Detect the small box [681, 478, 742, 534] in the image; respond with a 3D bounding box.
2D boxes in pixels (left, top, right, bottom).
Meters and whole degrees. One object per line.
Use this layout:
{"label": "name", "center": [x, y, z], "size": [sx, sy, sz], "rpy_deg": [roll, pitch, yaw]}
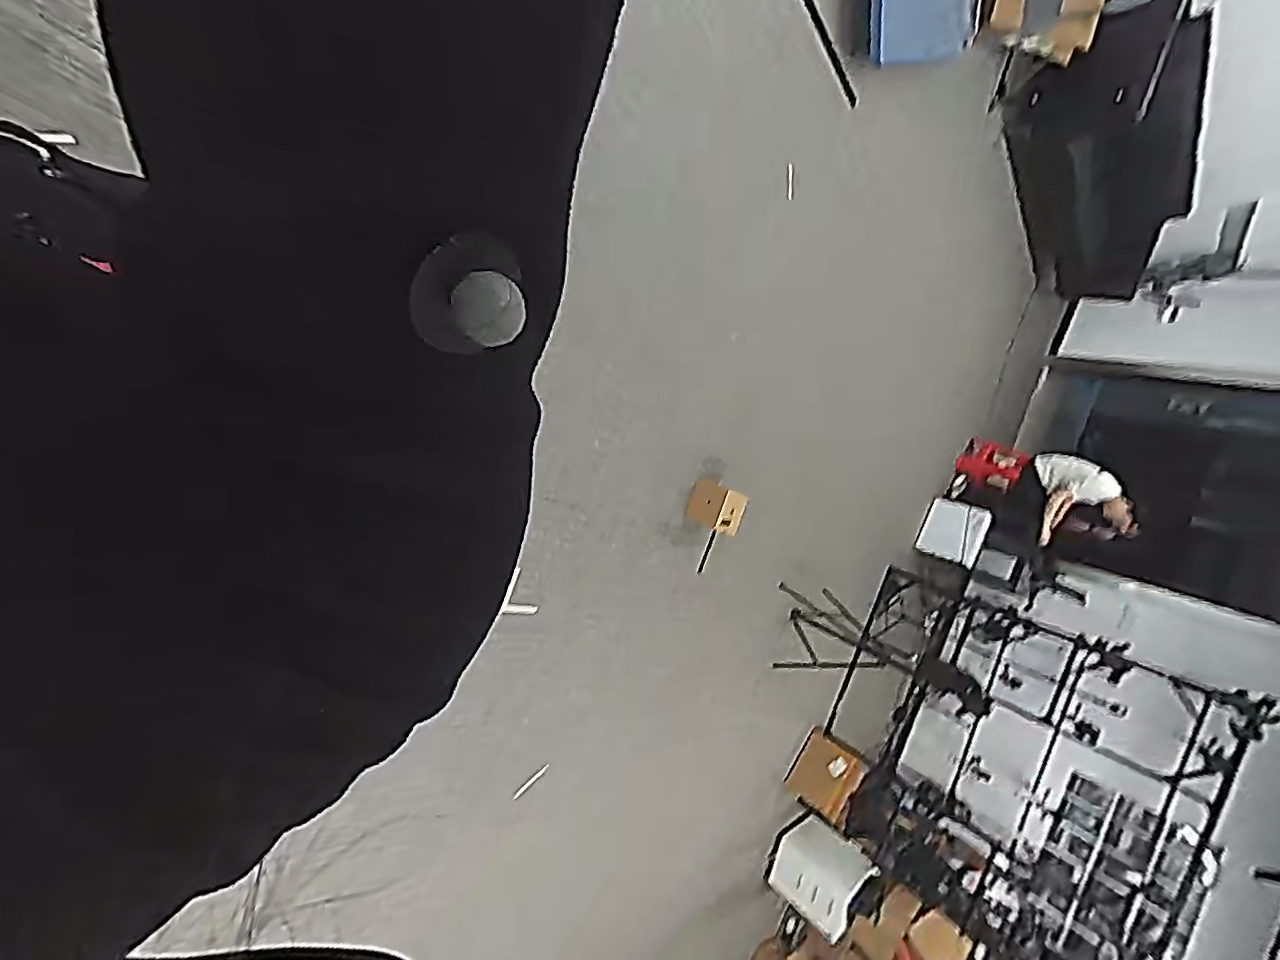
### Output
{"label": "small box", "center": [0.302, 0.109, 2.314], "size": [0.168, 0.176, 0.179], "rpy_deg": [23, 88, -47]}
